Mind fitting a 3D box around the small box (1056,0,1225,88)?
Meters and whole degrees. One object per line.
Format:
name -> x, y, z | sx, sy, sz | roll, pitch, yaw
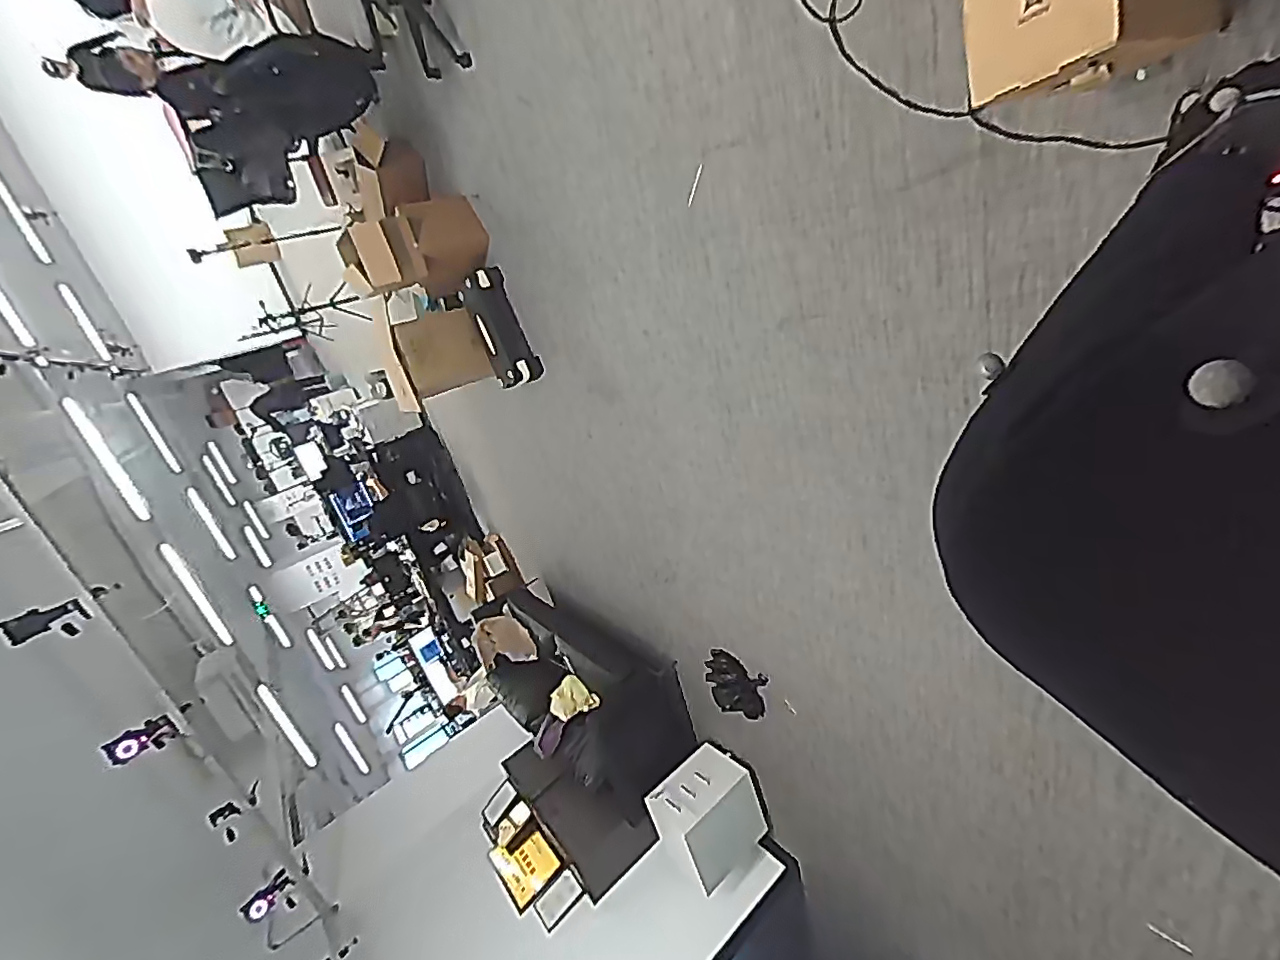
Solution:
small box -> 0.806, -0.775, 0.874 | 0.168, 0.176, 0.179 | 3, 118, 57
